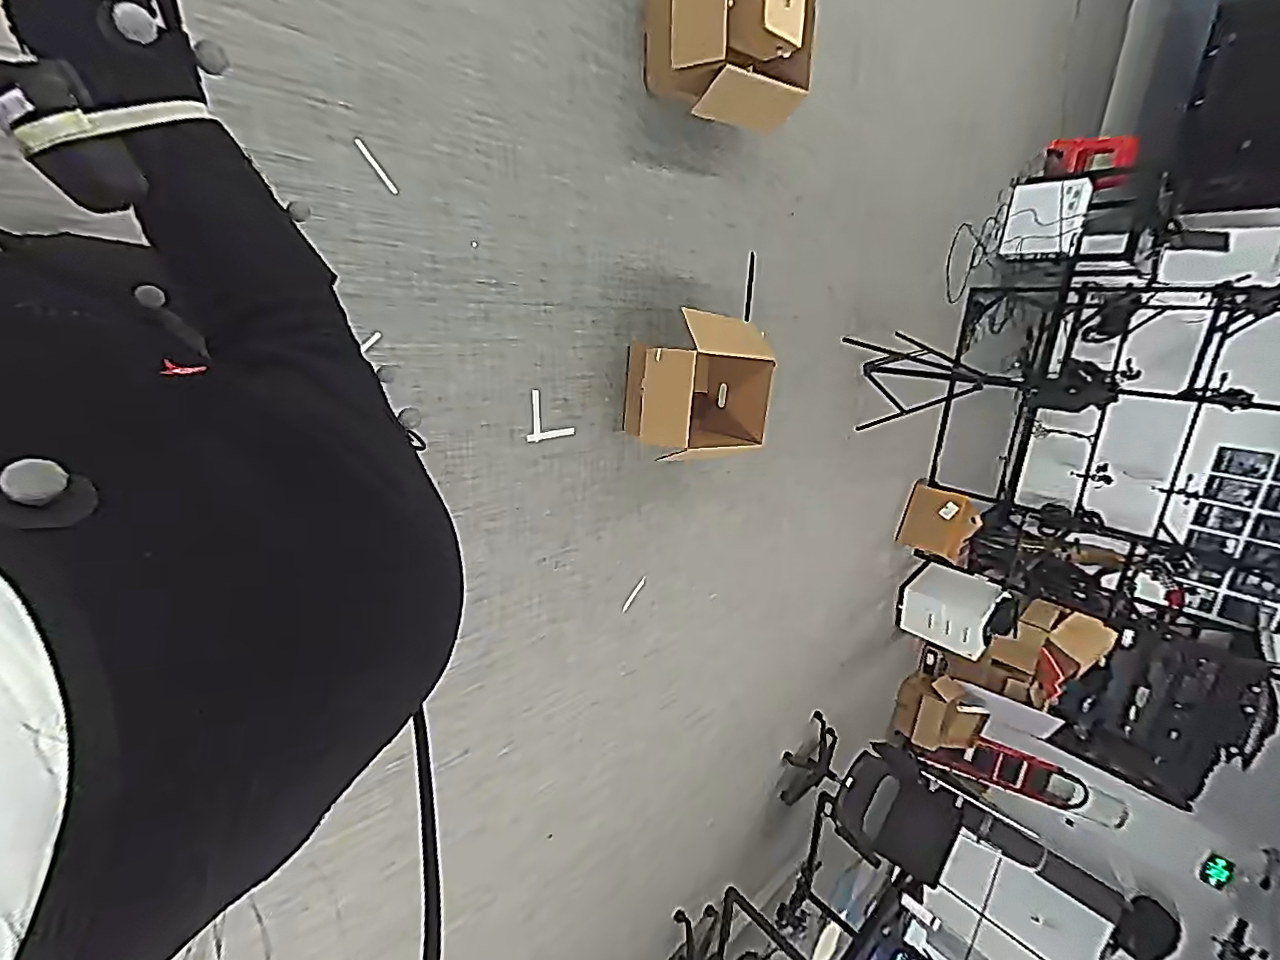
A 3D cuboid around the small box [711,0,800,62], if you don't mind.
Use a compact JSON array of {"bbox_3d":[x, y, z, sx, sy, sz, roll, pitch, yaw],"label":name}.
[{"bbox_3d":[0.320,-1.287,1.485,0.179,0.176,0.168,-14,113,-40],"label":"small box"}]
